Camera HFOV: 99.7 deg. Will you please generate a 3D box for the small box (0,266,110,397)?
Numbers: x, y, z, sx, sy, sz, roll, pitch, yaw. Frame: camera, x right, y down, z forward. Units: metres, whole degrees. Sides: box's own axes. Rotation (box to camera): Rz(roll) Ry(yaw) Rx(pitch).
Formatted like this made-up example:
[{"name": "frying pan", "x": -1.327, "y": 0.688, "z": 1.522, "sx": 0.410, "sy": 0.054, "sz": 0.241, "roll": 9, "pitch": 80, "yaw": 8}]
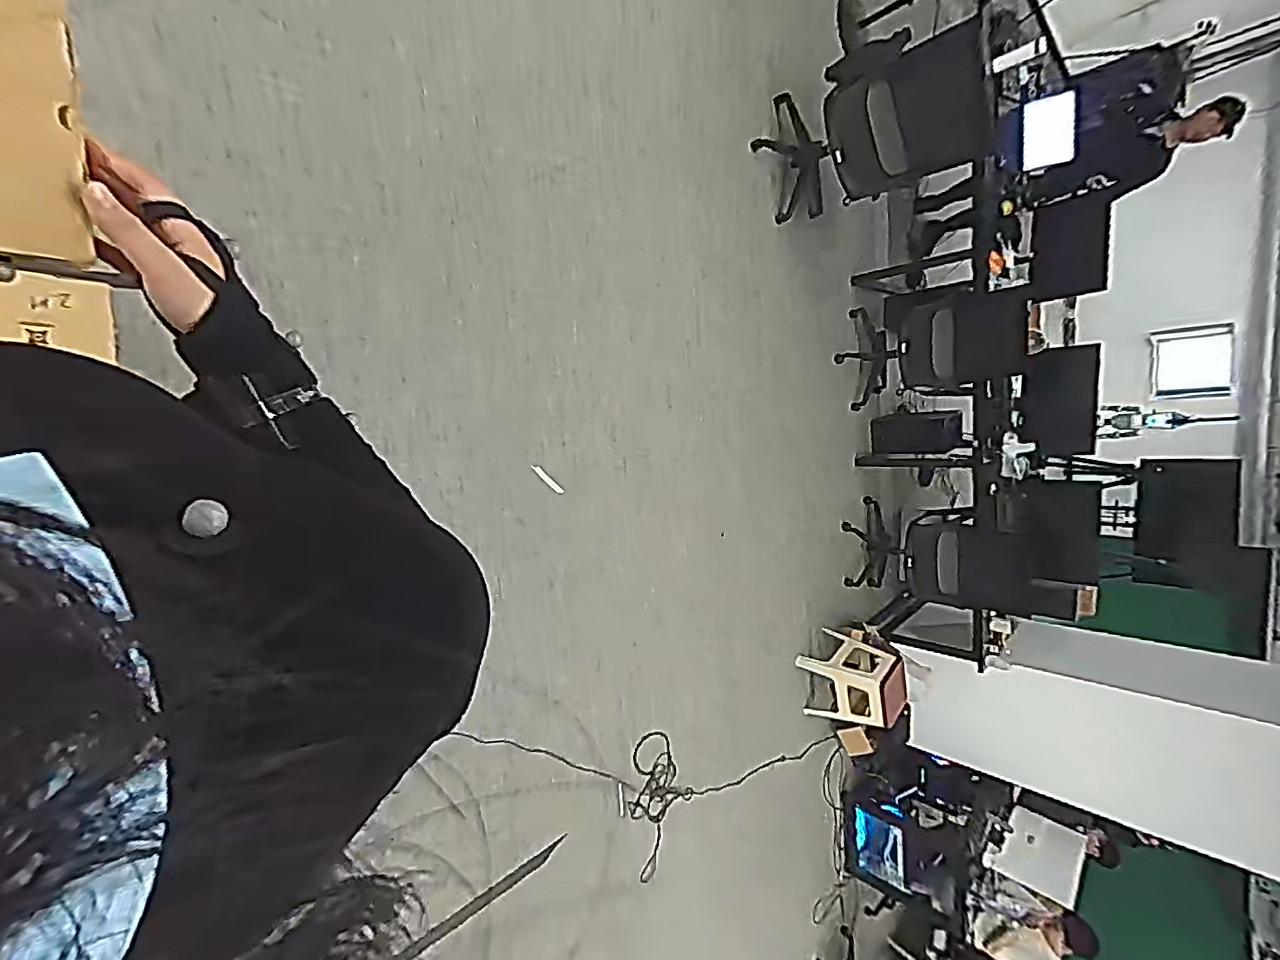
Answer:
[{"name": "small box", "x": -0.962, "y": -0.227, "z": 0.859, "sx": 0.168, "sy": 0.176, "sz": 0.179, "roll": -5, "pitch": 94, "yaw": -45}]
